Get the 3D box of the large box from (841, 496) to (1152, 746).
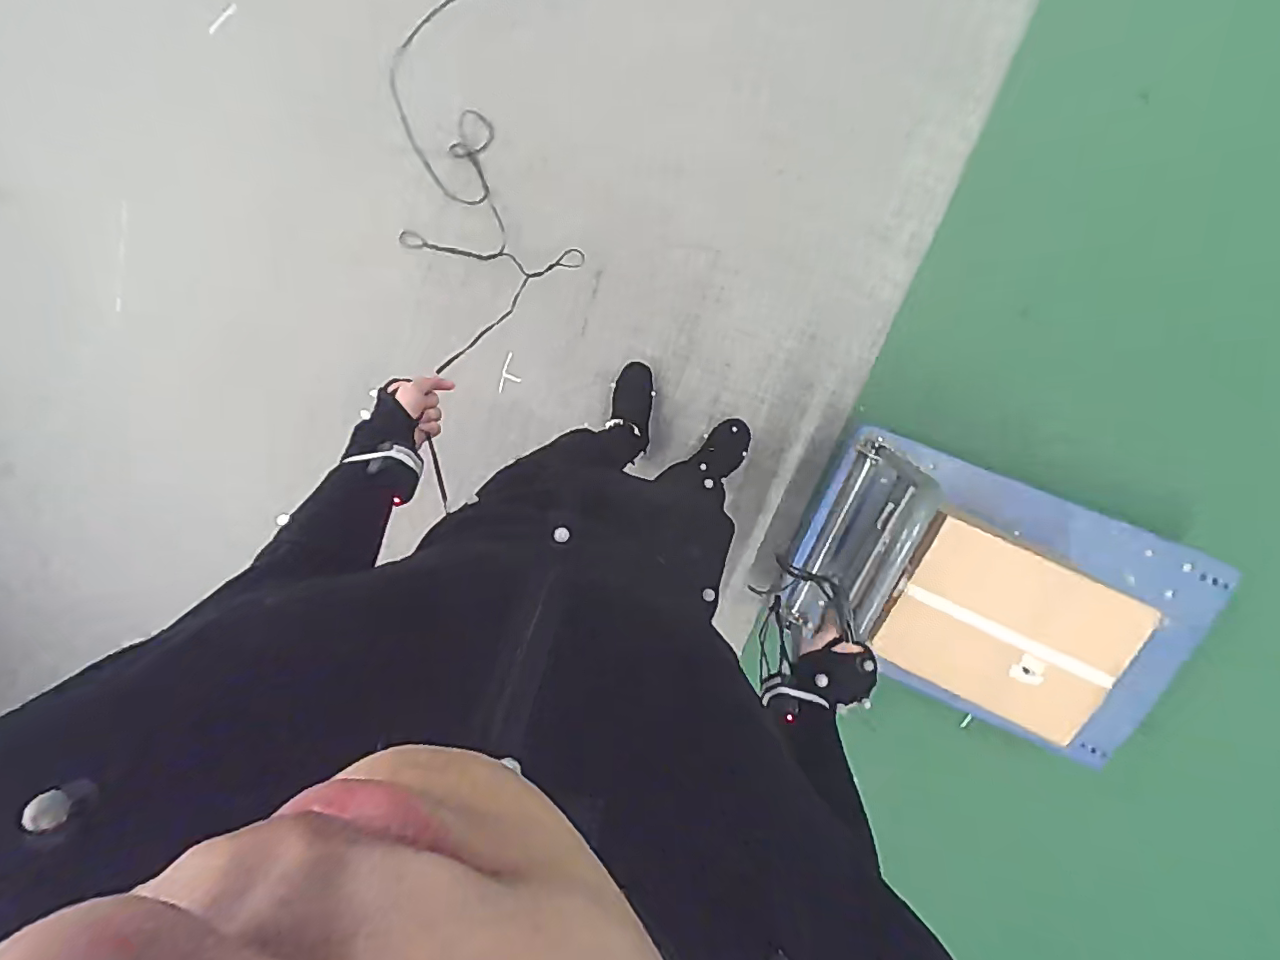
[{"bbox_3d":[0.711,0.272,1.169,0.408,0.320,0.320,26,105,6],"label":"large box"}]
